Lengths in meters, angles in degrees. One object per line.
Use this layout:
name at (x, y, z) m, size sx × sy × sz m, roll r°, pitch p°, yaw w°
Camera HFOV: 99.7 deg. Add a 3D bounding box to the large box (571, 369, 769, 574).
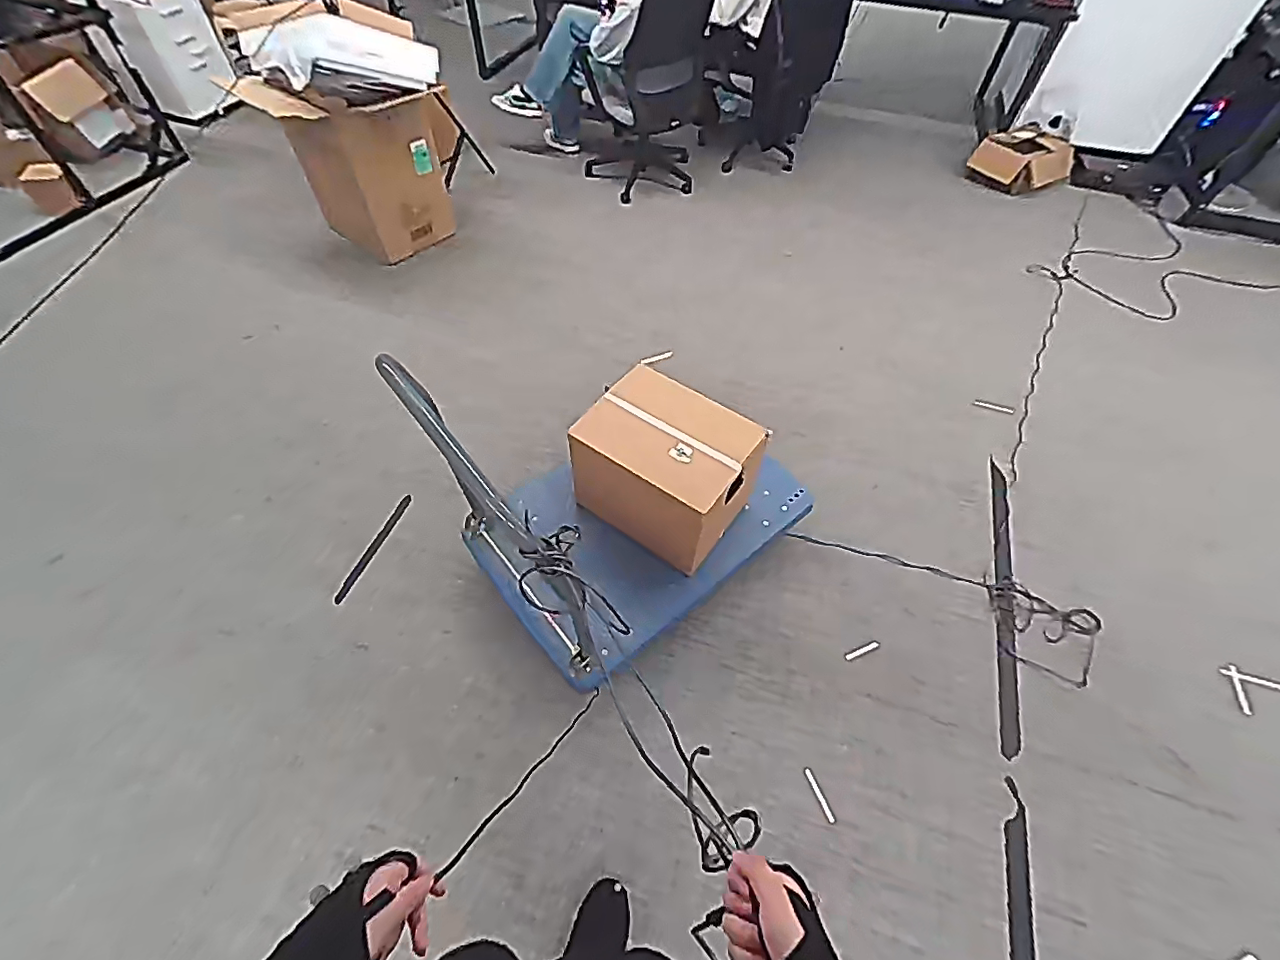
large box at (0.067, -0.025, 1.450) m, size 0.408 × 0.320 × 0.320 m, roll 31°, pitch 59°, yaw 18°
